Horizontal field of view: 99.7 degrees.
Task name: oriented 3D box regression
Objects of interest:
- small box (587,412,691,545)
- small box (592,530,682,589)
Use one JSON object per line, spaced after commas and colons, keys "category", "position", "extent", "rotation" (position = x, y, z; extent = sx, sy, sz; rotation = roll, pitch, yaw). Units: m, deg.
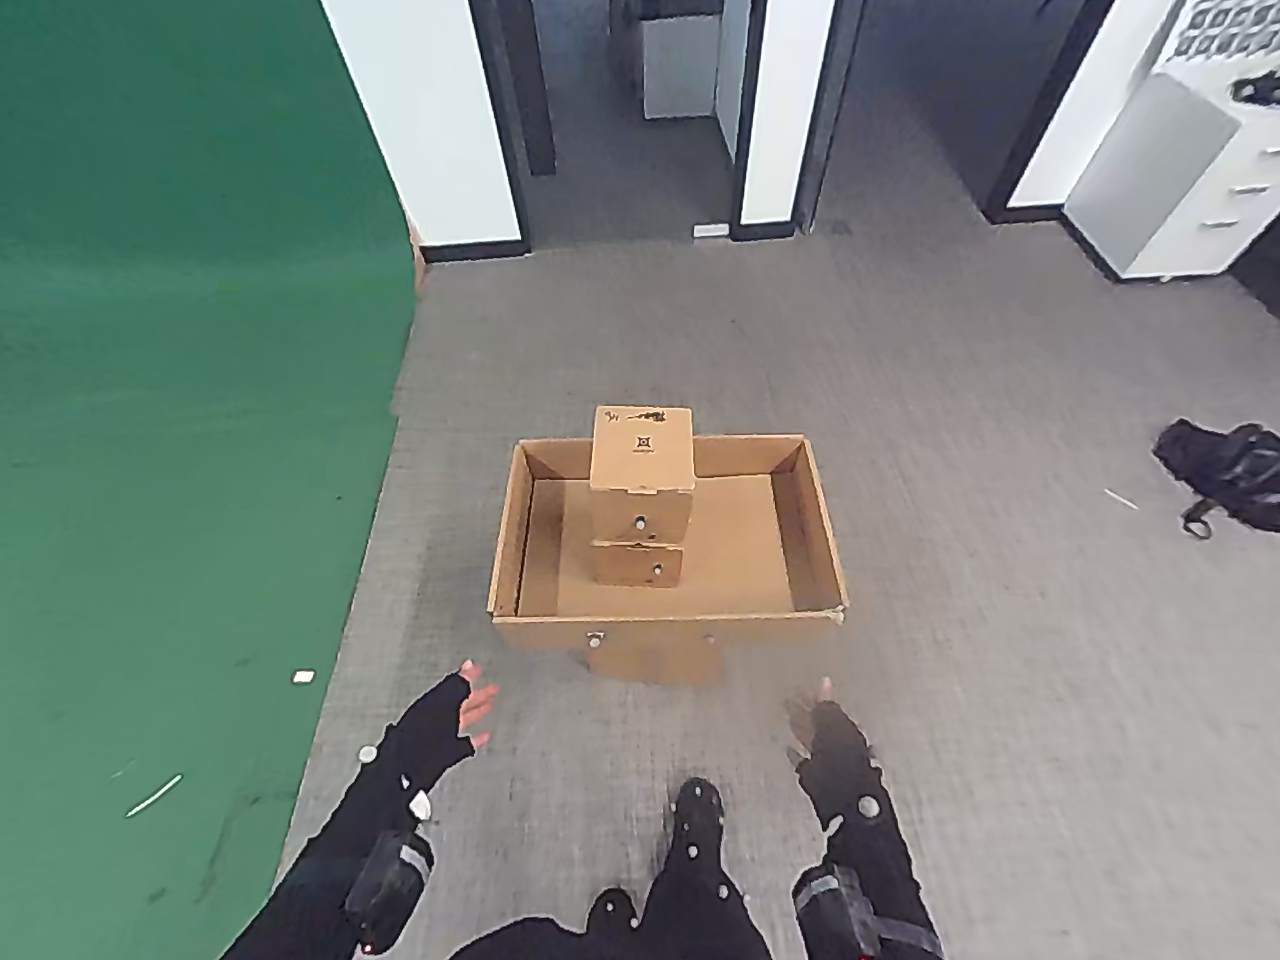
{"category": "small box", "position": [0.001, 0.002, 0.950], "extent": [0.168, 0.176, 0.179], "rotation": [2, 55, -1]}
{"category": "small box", "position": [-0.003, 0.105, 1.077], "extent": [0.168, 0.176, 0.179], "rotation": [2, 53, 0]}
